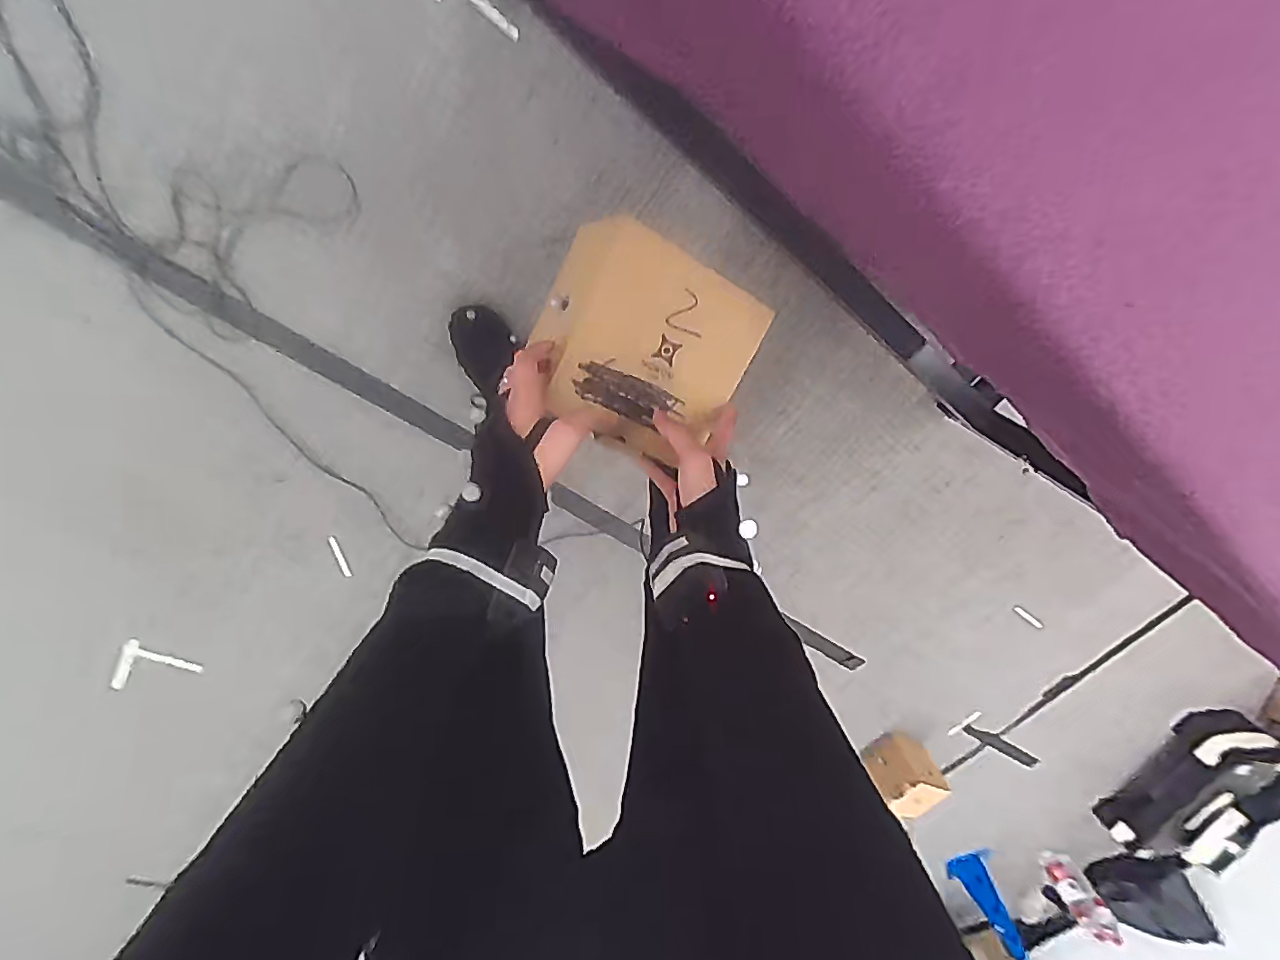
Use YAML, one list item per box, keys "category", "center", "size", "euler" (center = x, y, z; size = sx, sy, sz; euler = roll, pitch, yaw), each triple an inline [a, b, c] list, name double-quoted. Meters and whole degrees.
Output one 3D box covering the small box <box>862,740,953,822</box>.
- category: "small box"
  center: [0.885, 0.999, 1.802]
  size: [0.179, 0.176, 0.168]
  euler: [28, 112, -22]
